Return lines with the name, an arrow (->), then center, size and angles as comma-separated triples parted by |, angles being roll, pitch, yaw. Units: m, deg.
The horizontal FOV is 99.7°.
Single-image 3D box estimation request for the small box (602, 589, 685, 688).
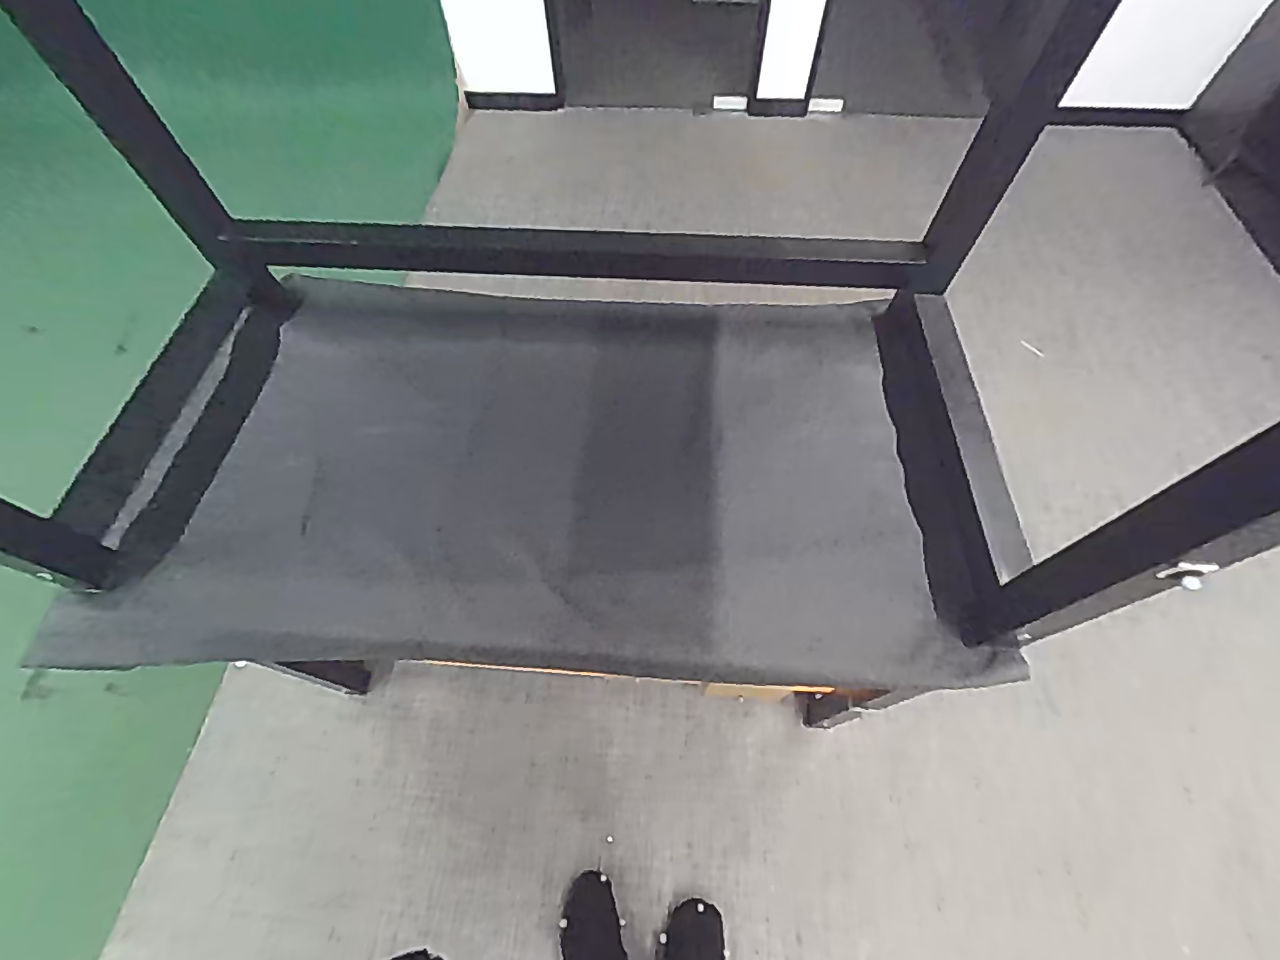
small box -> 0.012, 0.355, 1.196 | 0.168, 0.176, 0.179 | 3, 60, 2
